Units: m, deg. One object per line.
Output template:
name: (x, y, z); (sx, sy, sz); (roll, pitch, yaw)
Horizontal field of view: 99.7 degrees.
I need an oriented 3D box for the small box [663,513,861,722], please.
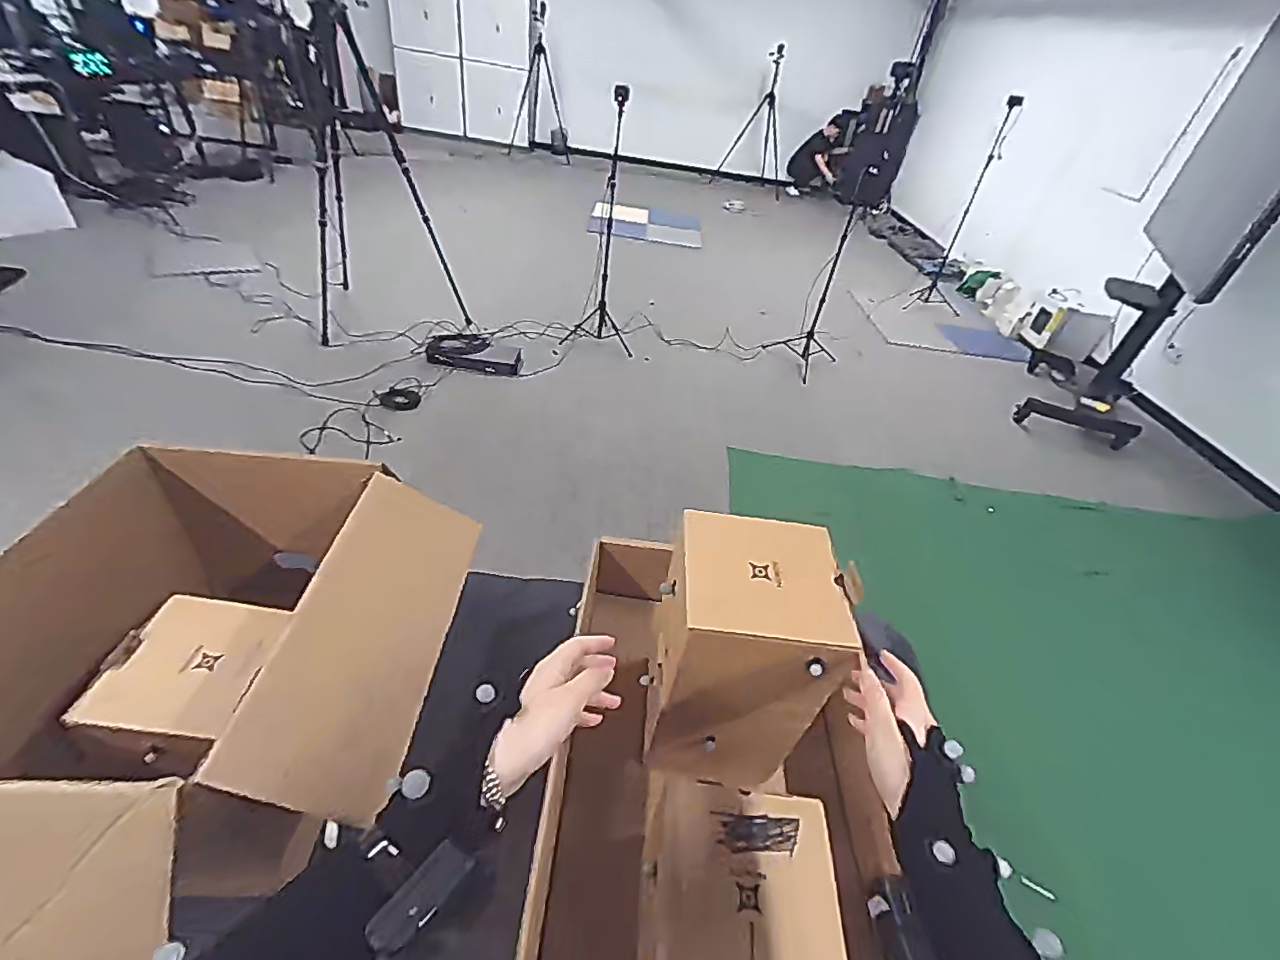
small box: (0.123, 0.162, 0.630); (0.179, 0.176, 0.168); (8, 40, -4)
